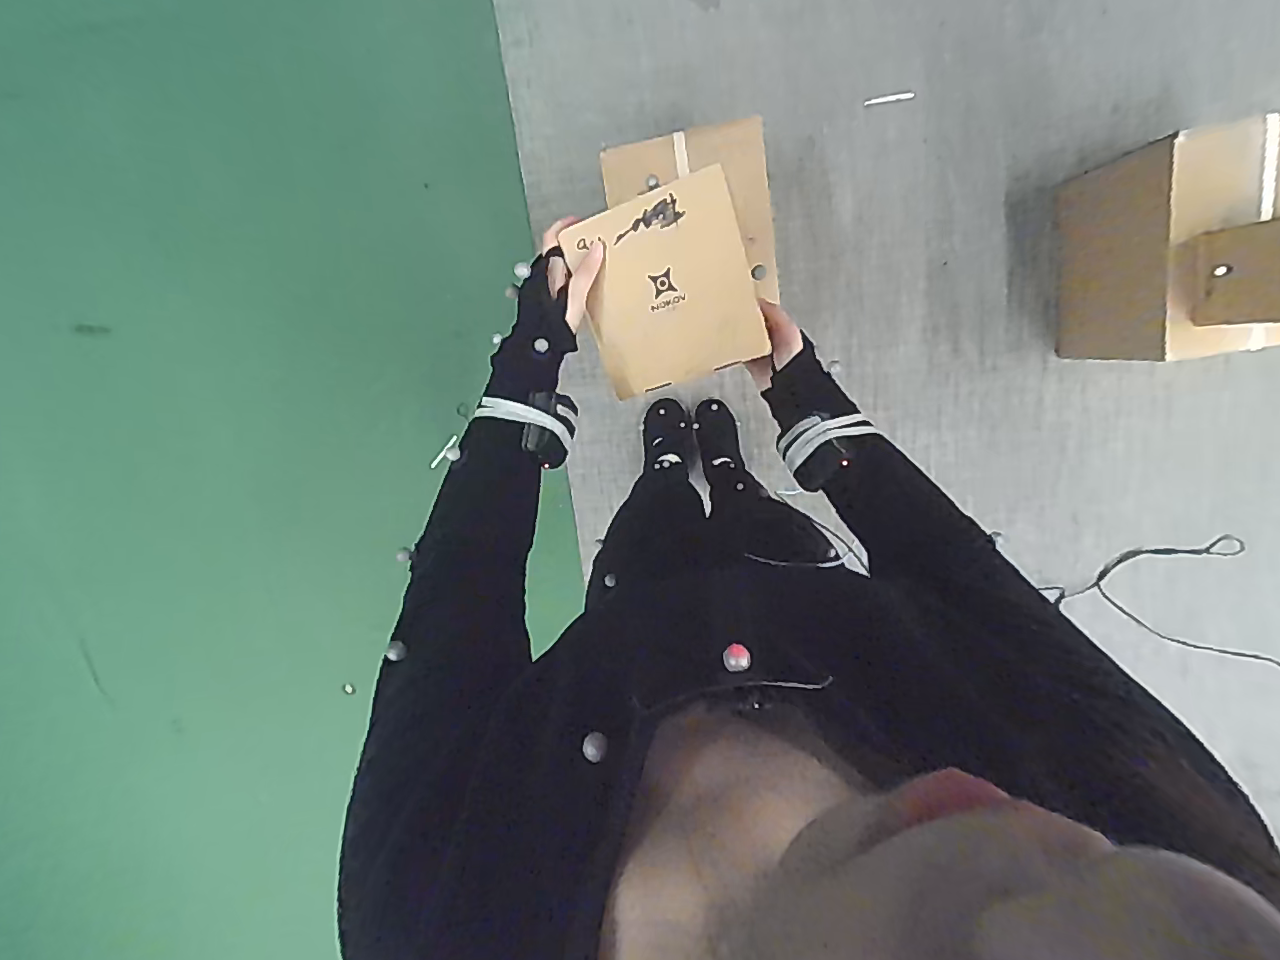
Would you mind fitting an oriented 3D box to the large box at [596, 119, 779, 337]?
[{"bbox_3d":[0.111,-0.495,1.209,0.320,0.320,0.408,-8,102,6],"label":"large box"}]

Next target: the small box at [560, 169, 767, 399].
[{"bbox_3d":[0.040,-0.213,0.594,0.168,0.176,0.179,-14,110,17],"label":"small box"}]

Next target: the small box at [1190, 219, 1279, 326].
[{"bbox_3d":[1.109,-0.361,0.919,0.179,0.176,0.168,-9,103,8],"label":"small box"}]
